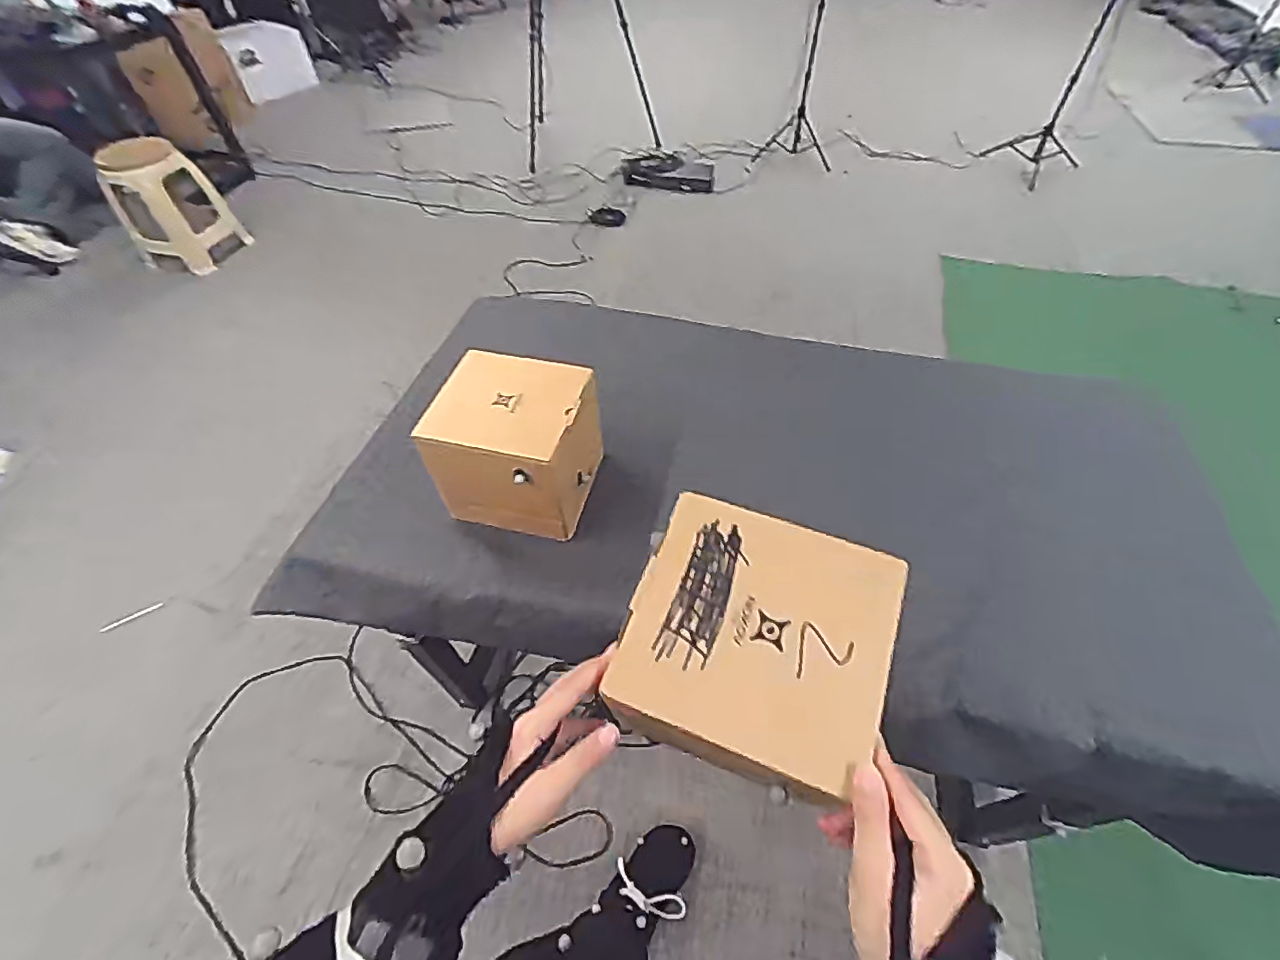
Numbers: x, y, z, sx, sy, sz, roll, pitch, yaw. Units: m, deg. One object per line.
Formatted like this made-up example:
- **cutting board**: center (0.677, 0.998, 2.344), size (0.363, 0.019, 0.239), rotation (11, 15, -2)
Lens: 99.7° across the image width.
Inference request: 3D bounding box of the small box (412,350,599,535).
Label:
- **small box**: center (-0.162, -0.046, 0.722), size (0.179, 0.176, 0.168), rotation (11, 52, 8)
